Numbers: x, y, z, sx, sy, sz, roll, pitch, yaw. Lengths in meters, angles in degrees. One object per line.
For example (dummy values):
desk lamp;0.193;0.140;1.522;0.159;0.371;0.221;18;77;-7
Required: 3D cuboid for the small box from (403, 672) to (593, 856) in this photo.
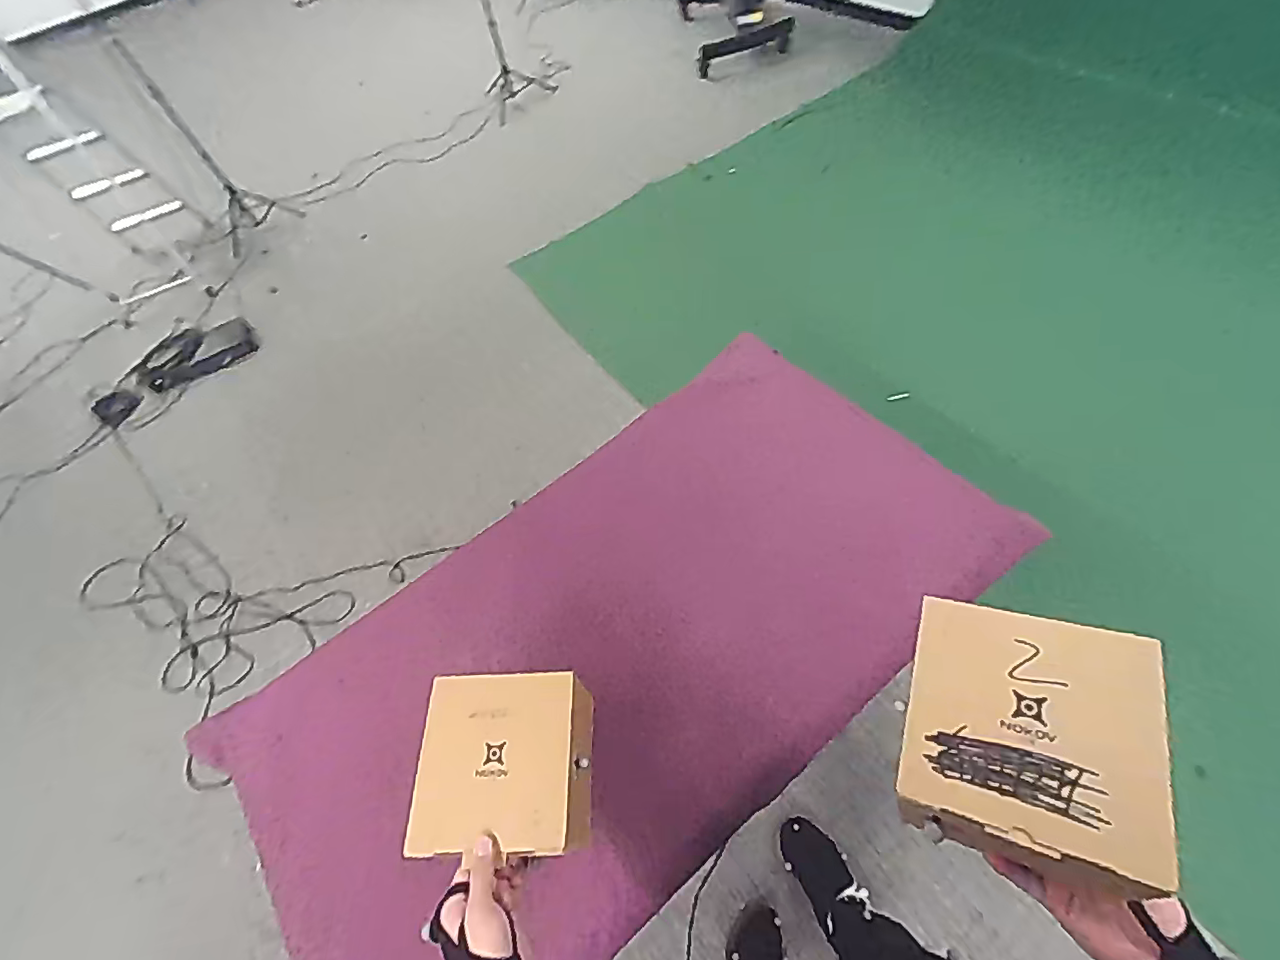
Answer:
small box;-0.150;0.337;0.645;0.168;0.176;0.179;-2;57;4
